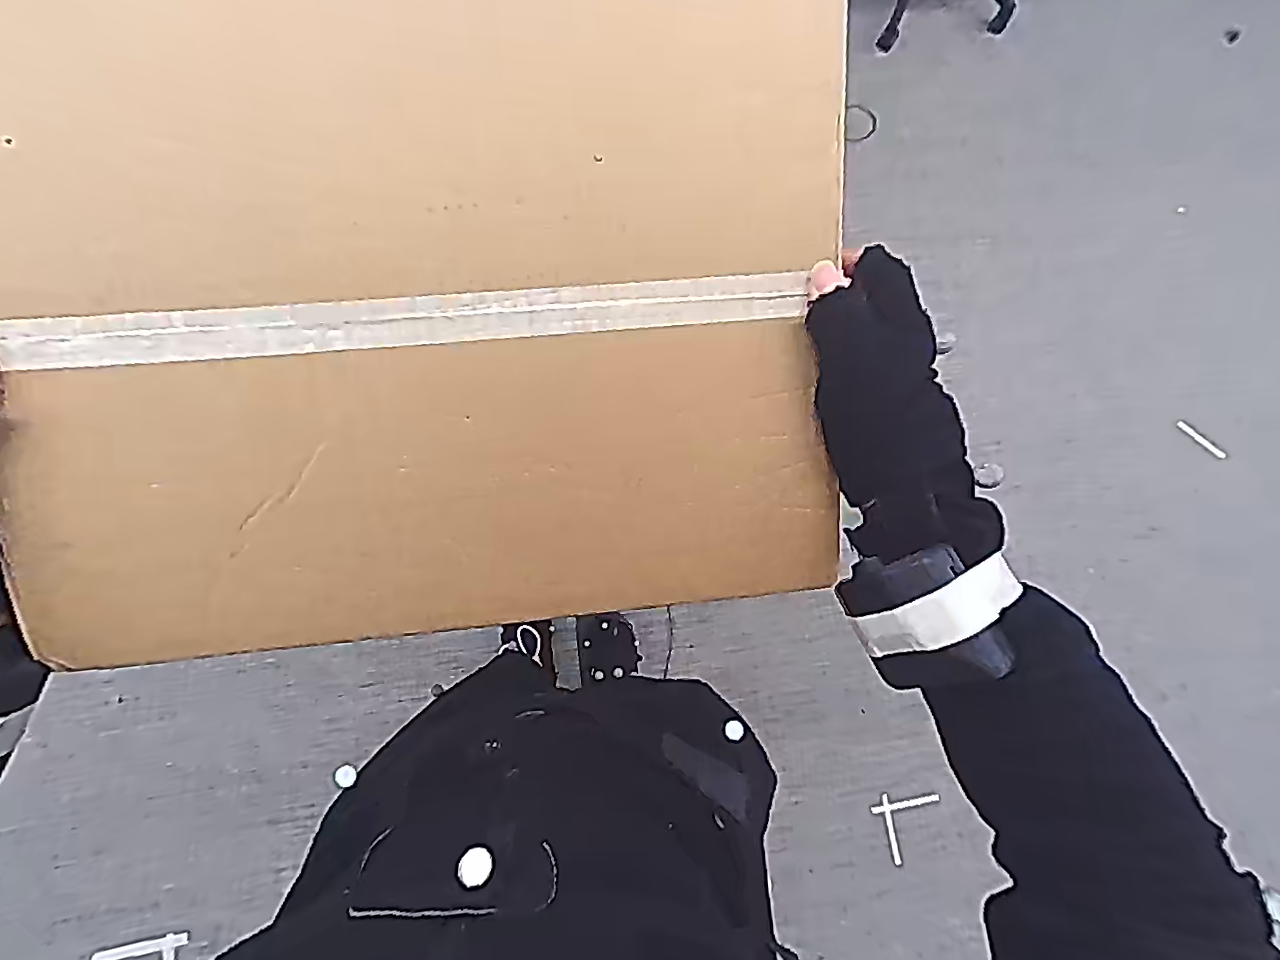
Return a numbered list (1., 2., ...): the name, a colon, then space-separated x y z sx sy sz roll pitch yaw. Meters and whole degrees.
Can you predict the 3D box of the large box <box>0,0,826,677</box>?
1. large box: -0.116 -0.099 0.405 0.408 0.320 0.320 -5 103 -5
